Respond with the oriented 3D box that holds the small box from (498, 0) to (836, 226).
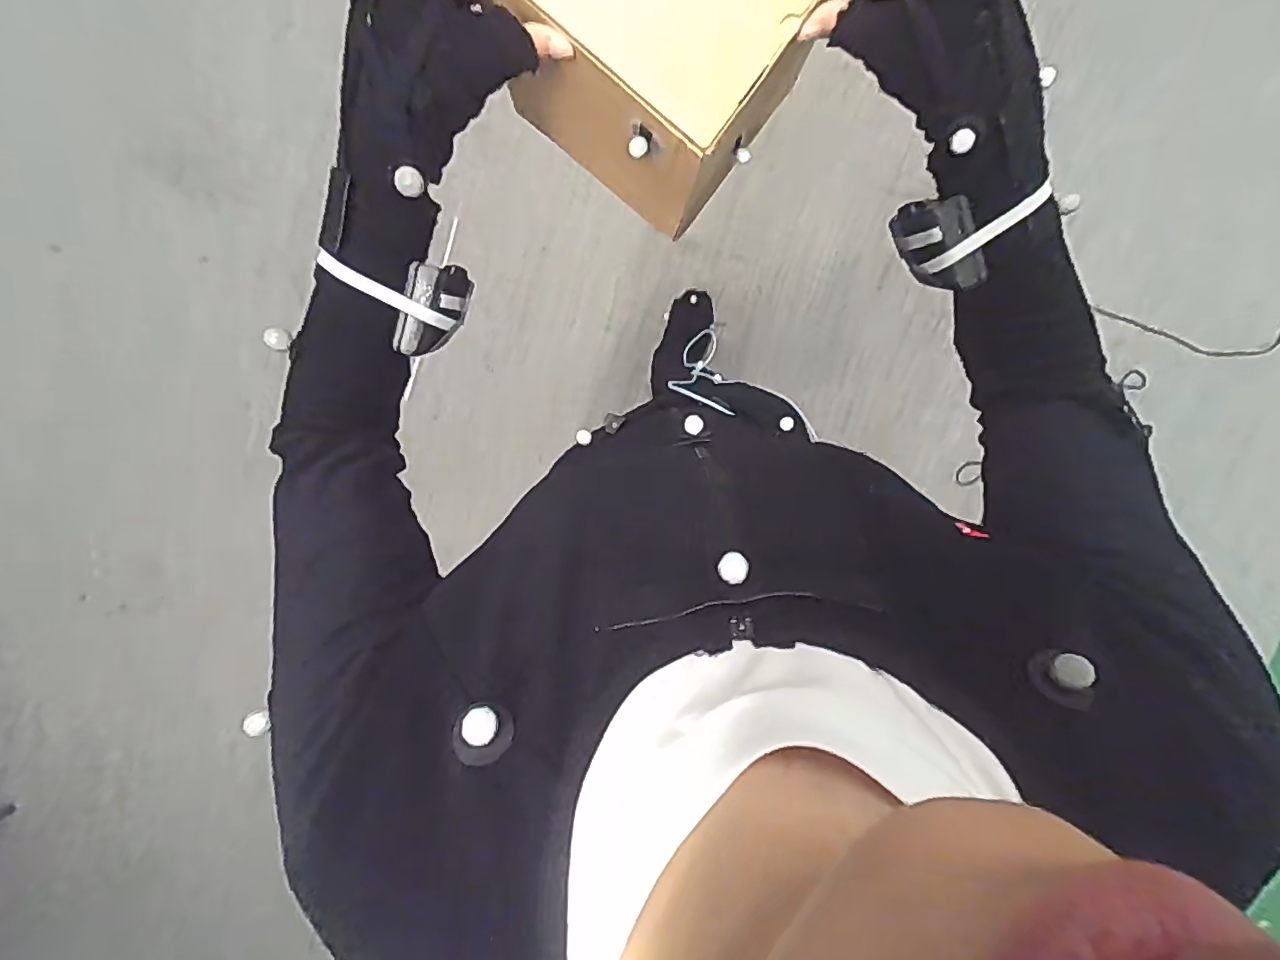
[{"bbox_3d":[0.013,-0.320,0.384,0.179,0.176,0.168,38,93,-9],"label":"small box"}]
